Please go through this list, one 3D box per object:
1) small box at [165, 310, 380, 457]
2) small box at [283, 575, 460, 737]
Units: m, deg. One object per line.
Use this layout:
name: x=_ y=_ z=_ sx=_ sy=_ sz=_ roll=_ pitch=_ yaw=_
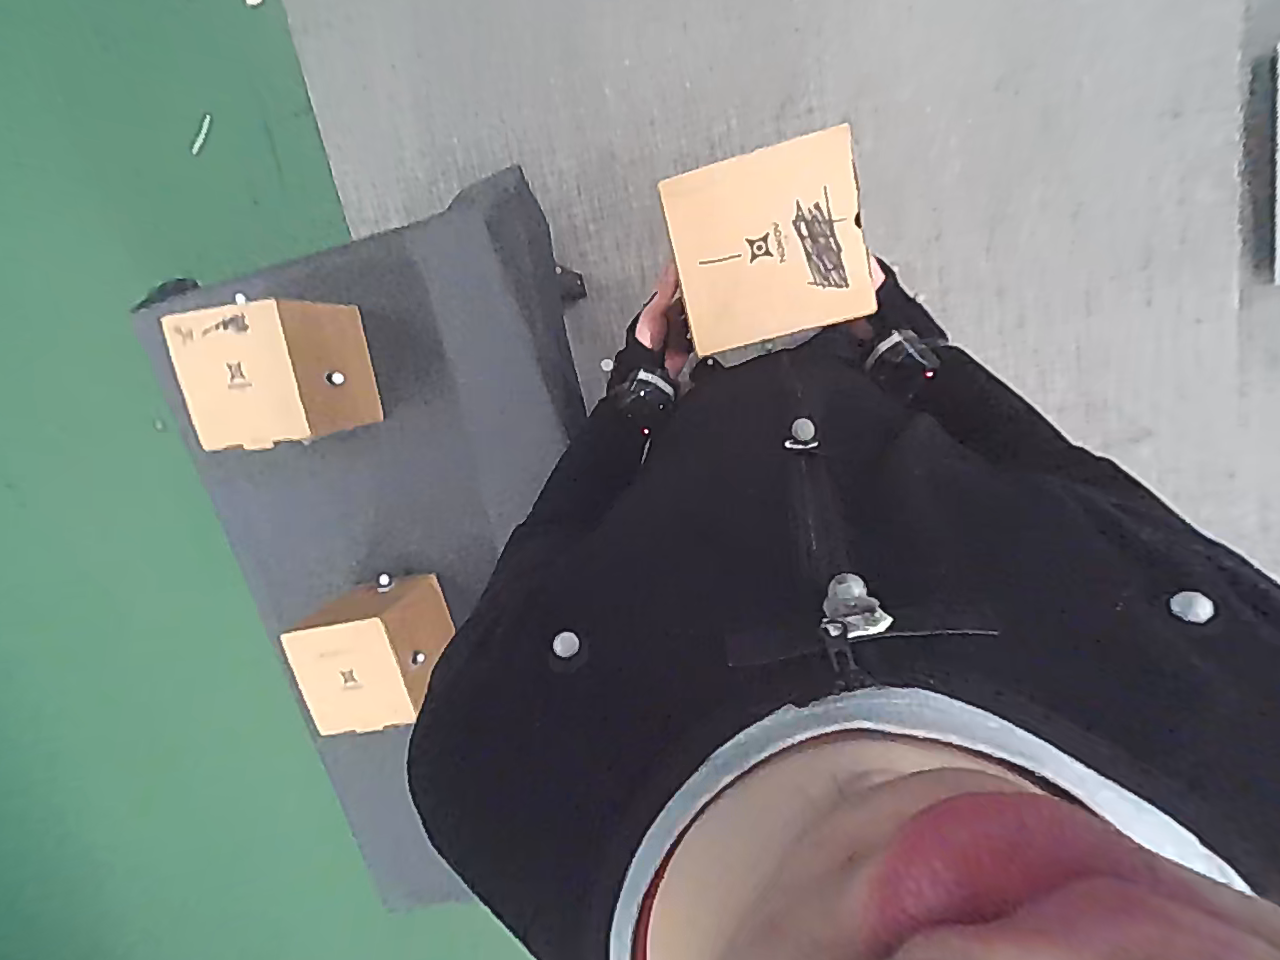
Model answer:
small box: x=-0.502 y=-0.142 z=0.771 sx=0.168 sy=0.176 sz=0.179 roll=-6 pitch=104 yaw=8
small box: x=-0.414 y=0.275 z=0.868 sx=0.168 sy=0.176 sz=0.179 roll=-12 pitch=101 yaw=8
